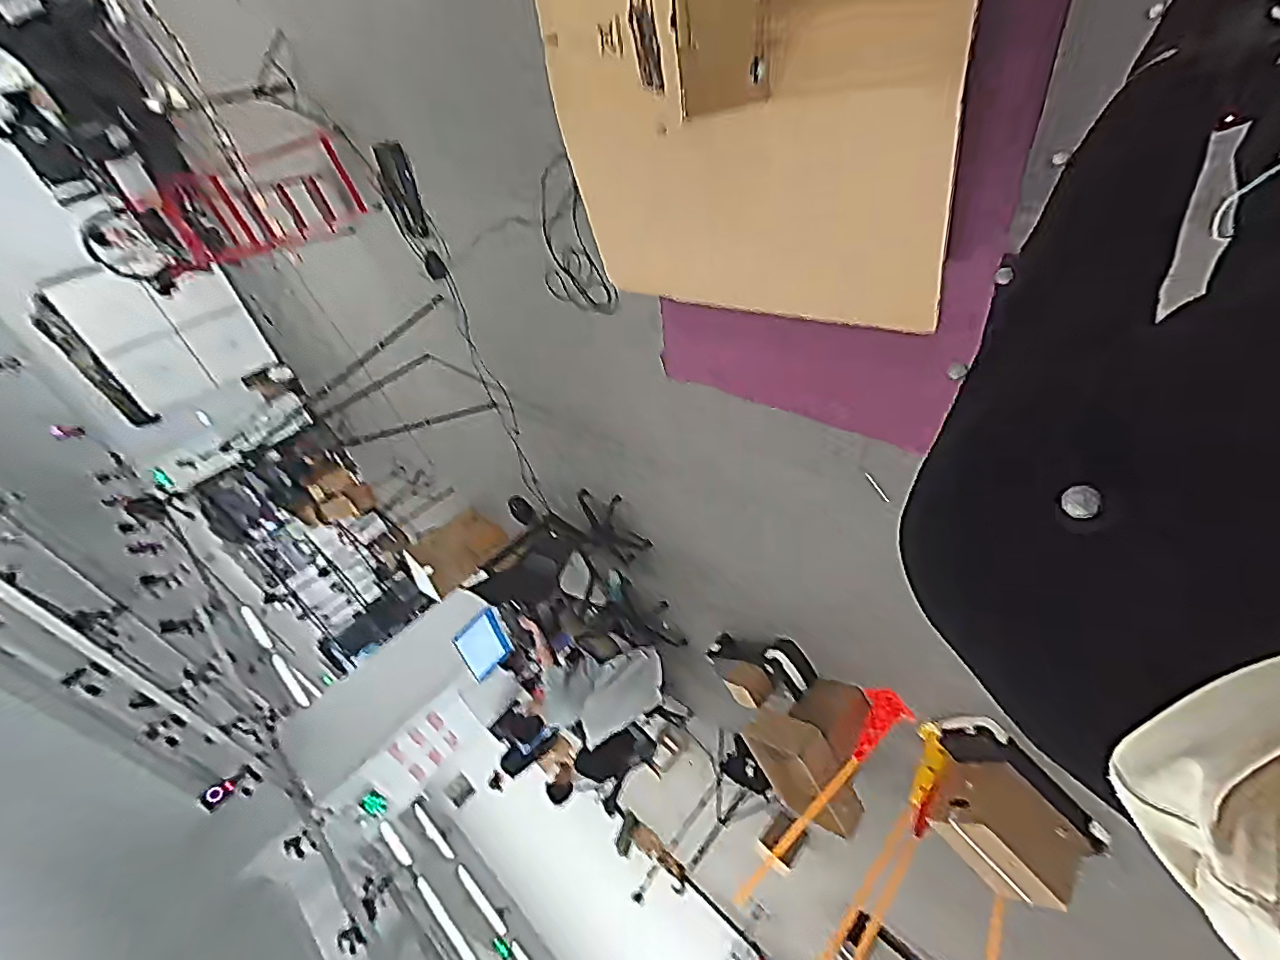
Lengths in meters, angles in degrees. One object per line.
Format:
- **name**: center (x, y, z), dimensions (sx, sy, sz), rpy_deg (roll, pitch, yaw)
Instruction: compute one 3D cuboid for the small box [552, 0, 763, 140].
- **small box**: center (0.029, -0.500, 0.613), dimensions (0.179, 0.176, 0.168), rpy_deg (23, 137, 38)
